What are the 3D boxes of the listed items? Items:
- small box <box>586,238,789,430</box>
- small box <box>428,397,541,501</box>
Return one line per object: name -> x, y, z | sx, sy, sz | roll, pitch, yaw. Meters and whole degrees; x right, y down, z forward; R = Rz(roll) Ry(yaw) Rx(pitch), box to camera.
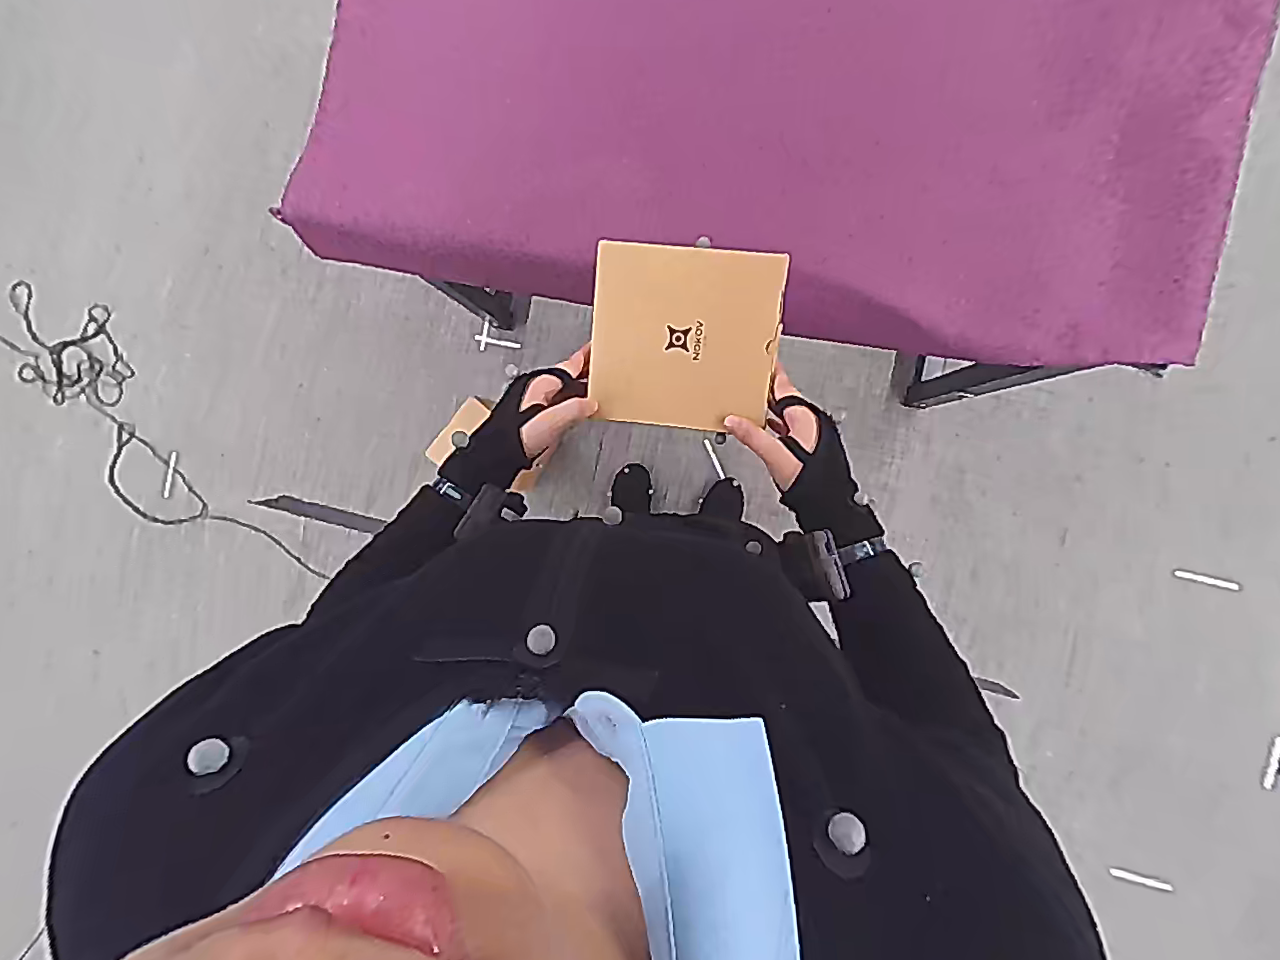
small box -> 0.049, -0.147, 0.581 | 0.179, 0.176, 0.168 | 6, 100, 4
small box -> -0.355, -0.072, 1.281 | 0.168, 0.176, 0.179 | 40, 96, 3
